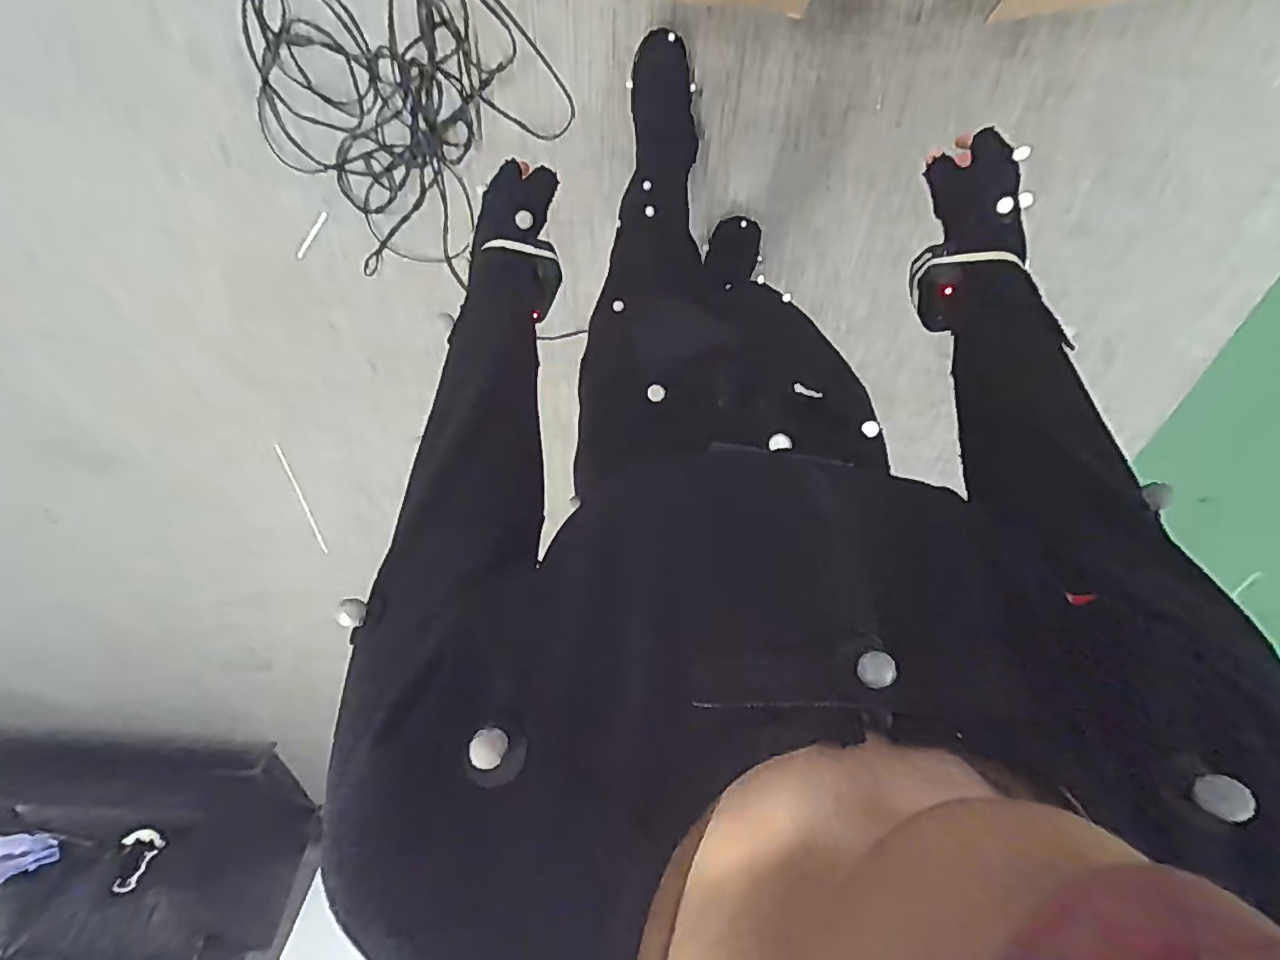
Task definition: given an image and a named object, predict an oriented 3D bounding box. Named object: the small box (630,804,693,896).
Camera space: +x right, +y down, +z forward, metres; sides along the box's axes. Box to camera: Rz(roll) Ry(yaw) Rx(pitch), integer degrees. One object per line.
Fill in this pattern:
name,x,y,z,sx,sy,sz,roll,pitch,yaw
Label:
small box,0.061,1.031,1.508,0.168,0.176,0.179,2,129,2
